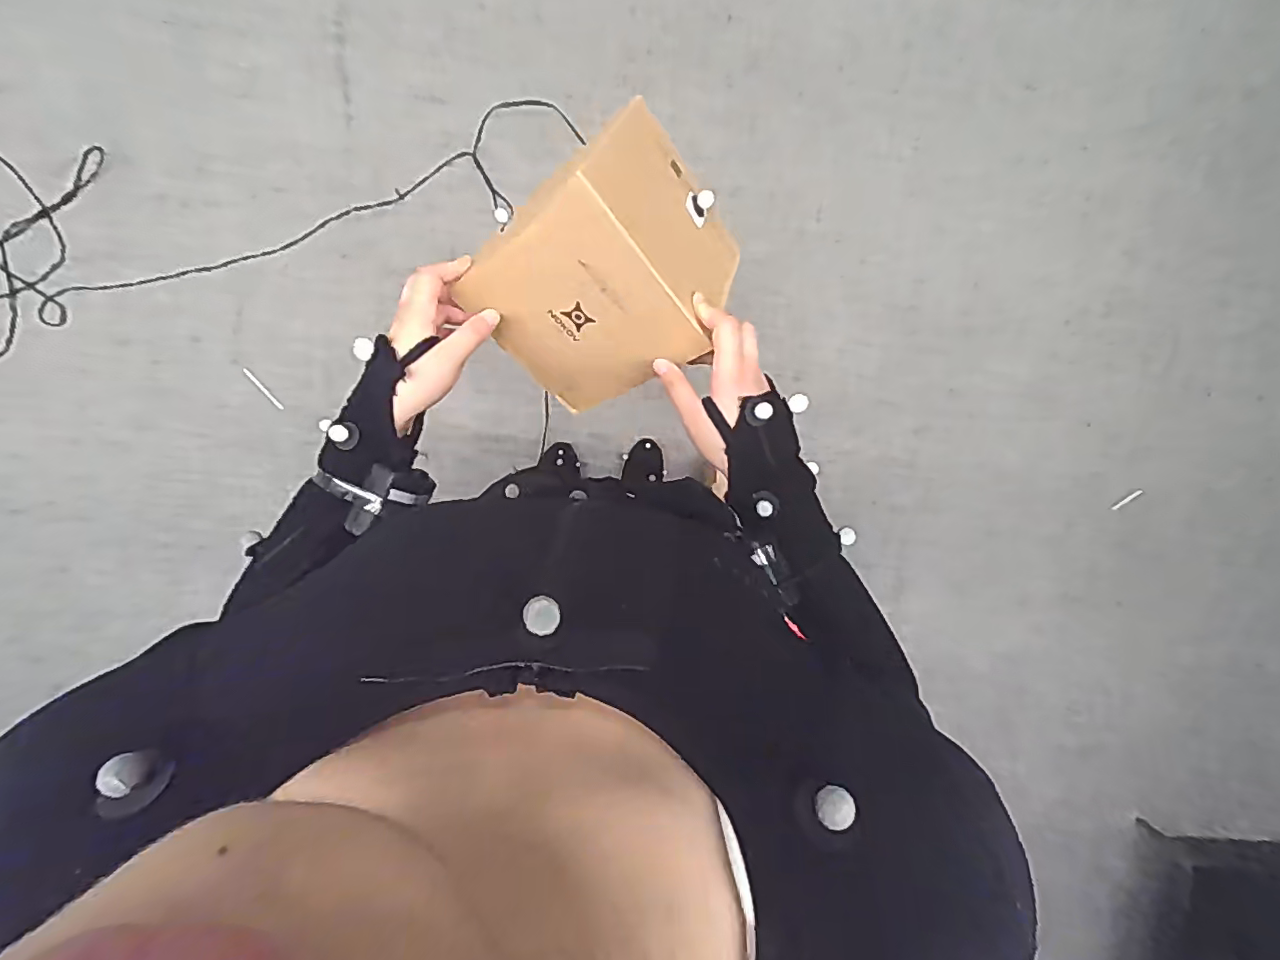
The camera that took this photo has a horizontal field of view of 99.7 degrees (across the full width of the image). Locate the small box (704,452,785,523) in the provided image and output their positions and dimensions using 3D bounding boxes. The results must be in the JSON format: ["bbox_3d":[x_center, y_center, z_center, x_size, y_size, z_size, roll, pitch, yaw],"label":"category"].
[{"bbox_3d":[0.268,0.015,1.432,0.179,0.176,0.168,3,96,-2],"label":"small box"}]

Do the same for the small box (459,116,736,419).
[{"bbox_3d":[-0.029,-0.193,0.514,0.179,0.176,0.168,-20,129,38],"label":"small box"}]
